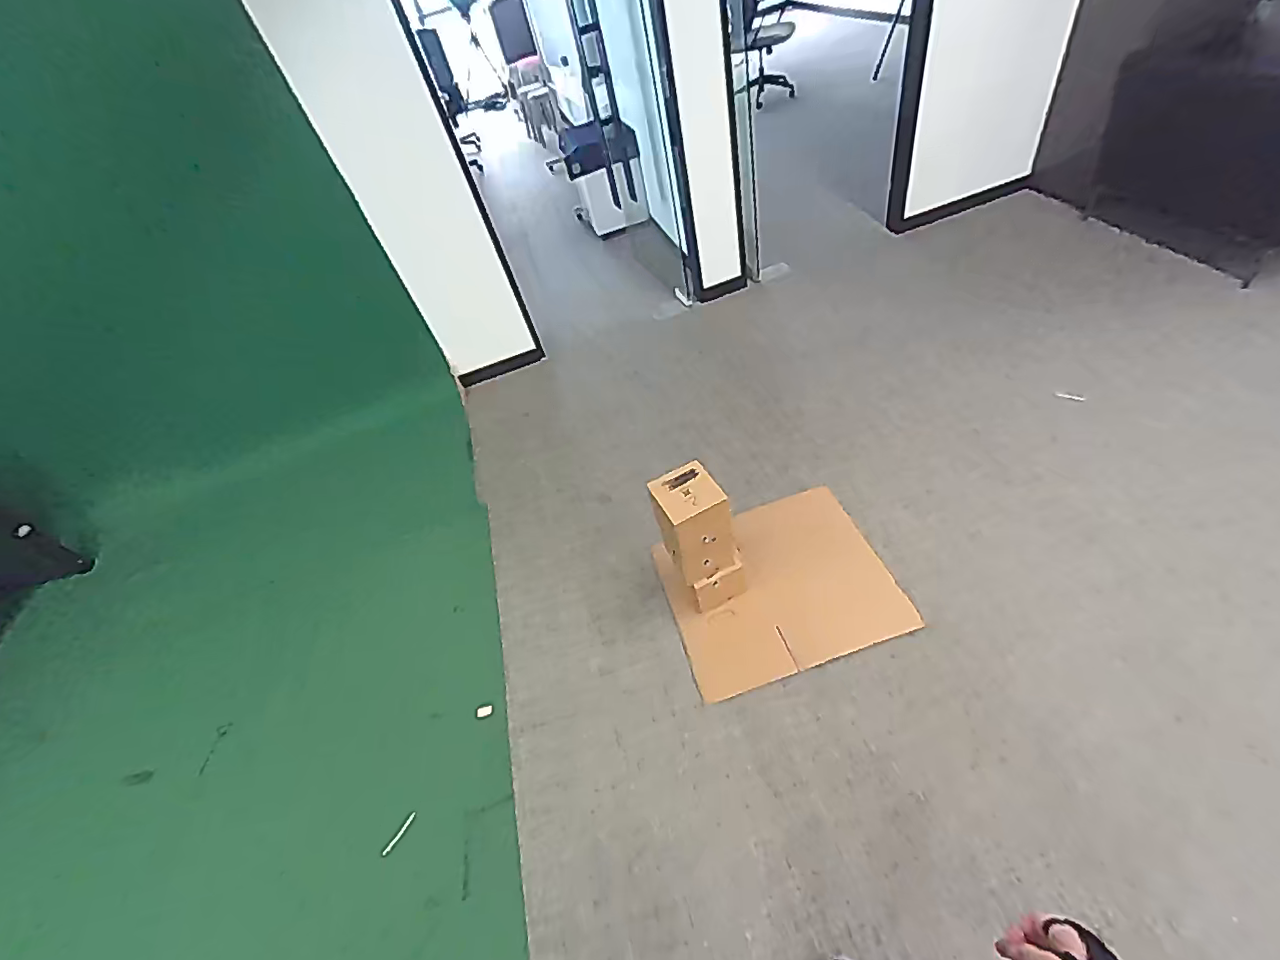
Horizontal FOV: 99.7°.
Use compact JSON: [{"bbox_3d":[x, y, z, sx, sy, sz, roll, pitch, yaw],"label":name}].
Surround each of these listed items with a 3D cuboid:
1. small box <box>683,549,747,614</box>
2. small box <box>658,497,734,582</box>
[{"bbox_3d":[0.234,0.301,1.763,0.168,0.176,0.179,-25,46,-7],"label":"small box"},{"bbox_3d":[0.176,0.189,1.655,0.168,0.176,0.179,-24,46,-7],"label":"small box"}]
